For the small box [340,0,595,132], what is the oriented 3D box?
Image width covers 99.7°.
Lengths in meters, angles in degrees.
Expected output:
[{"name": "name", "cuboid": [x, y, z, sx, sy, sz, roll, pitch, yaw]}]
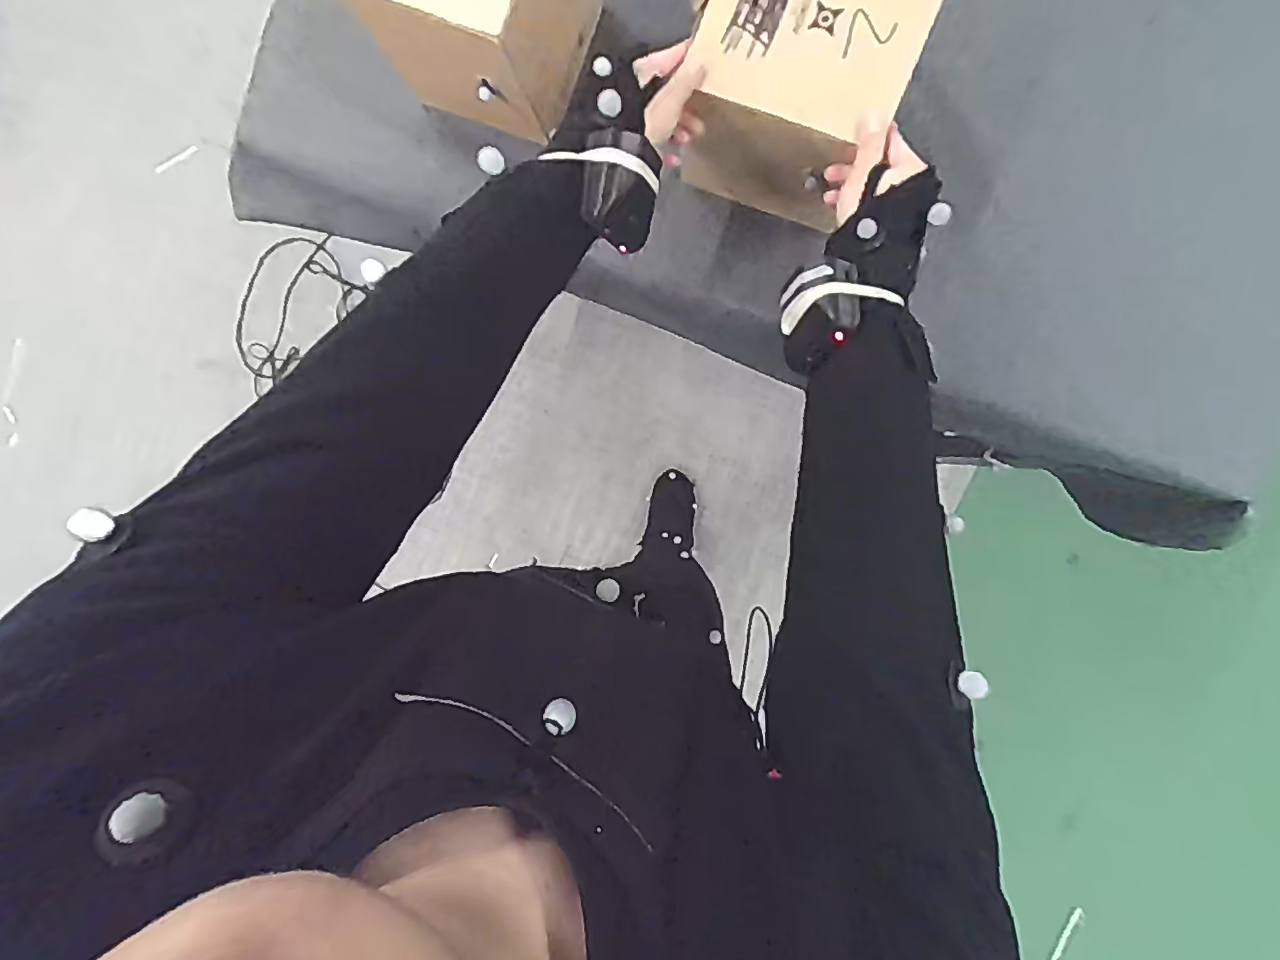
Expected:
[{"name": "small box", "cuboid": [-0.159, -0.482, 0.527, 0.179, 0.176, 0.168, 21, 94, 5]}]
